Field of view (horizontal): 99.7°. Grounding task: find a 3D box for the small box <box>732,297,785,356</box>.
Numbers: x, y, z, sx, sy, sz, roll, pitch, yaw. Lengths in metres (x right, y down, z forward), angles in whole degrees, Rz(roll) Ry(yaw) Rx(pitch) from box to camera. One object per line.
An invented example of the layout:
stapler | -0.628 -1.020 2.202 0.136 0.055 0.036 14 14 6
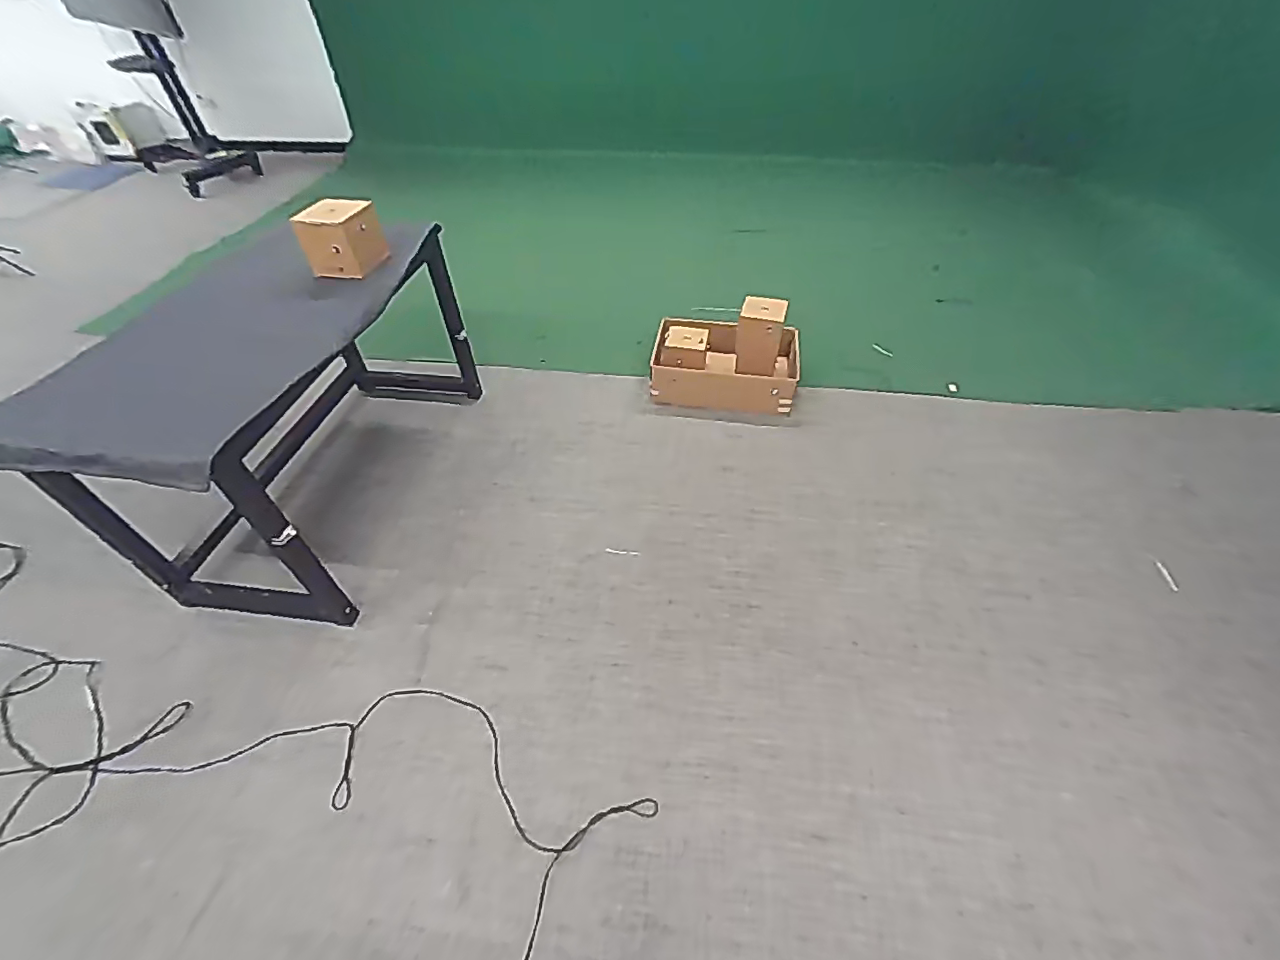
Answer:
small box | 0.488 -0.633 2.242 0.179 0.176 0.168 12 48 12

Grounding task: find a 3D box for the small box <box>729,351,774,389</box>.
small box | 0.490 -0.524 2.366 0.168 0.176 0.179 11 50 12

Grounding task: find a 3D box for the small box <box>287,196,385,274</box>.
small box | -0.909 -0.741 1.637 0.168 0.176 0.179 8 46 8
